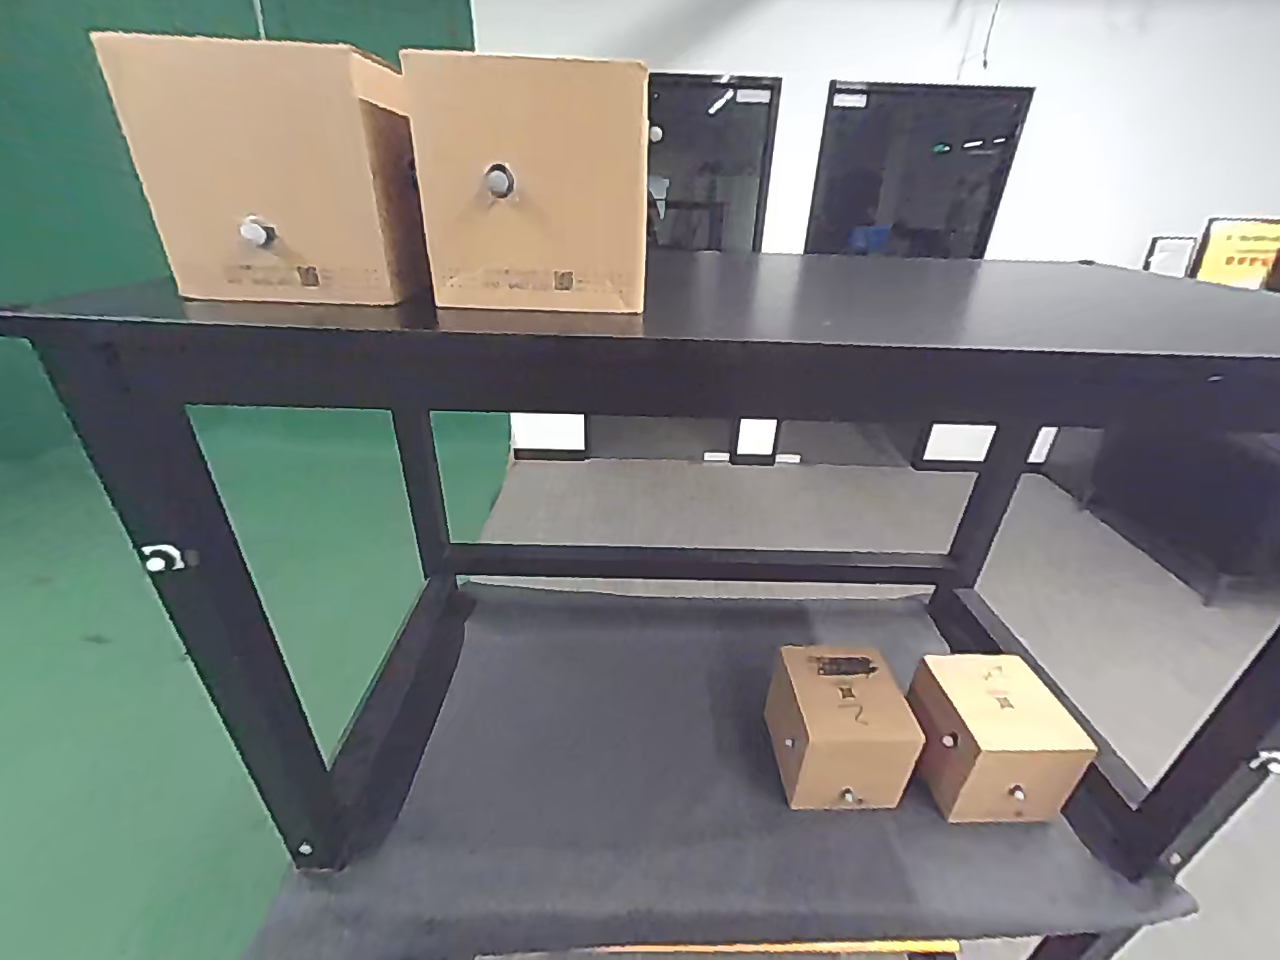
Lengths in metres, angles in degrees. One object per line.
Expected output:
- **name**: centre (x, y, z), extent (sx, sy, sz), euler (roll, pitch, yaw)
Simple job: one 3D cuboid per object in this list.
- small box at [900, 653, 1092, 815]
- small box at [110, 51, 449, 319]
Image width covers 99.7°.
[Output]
- **small box**: centre (0.541, 0.398, 0.852), extent (0.168, 0.176, 0.179), euler (0, 27, -2)
- **small box**: centre (-0.276, -0.246, 0.470), extent (0.168, 0.176, 0.179), euler (1, 29, -2)
